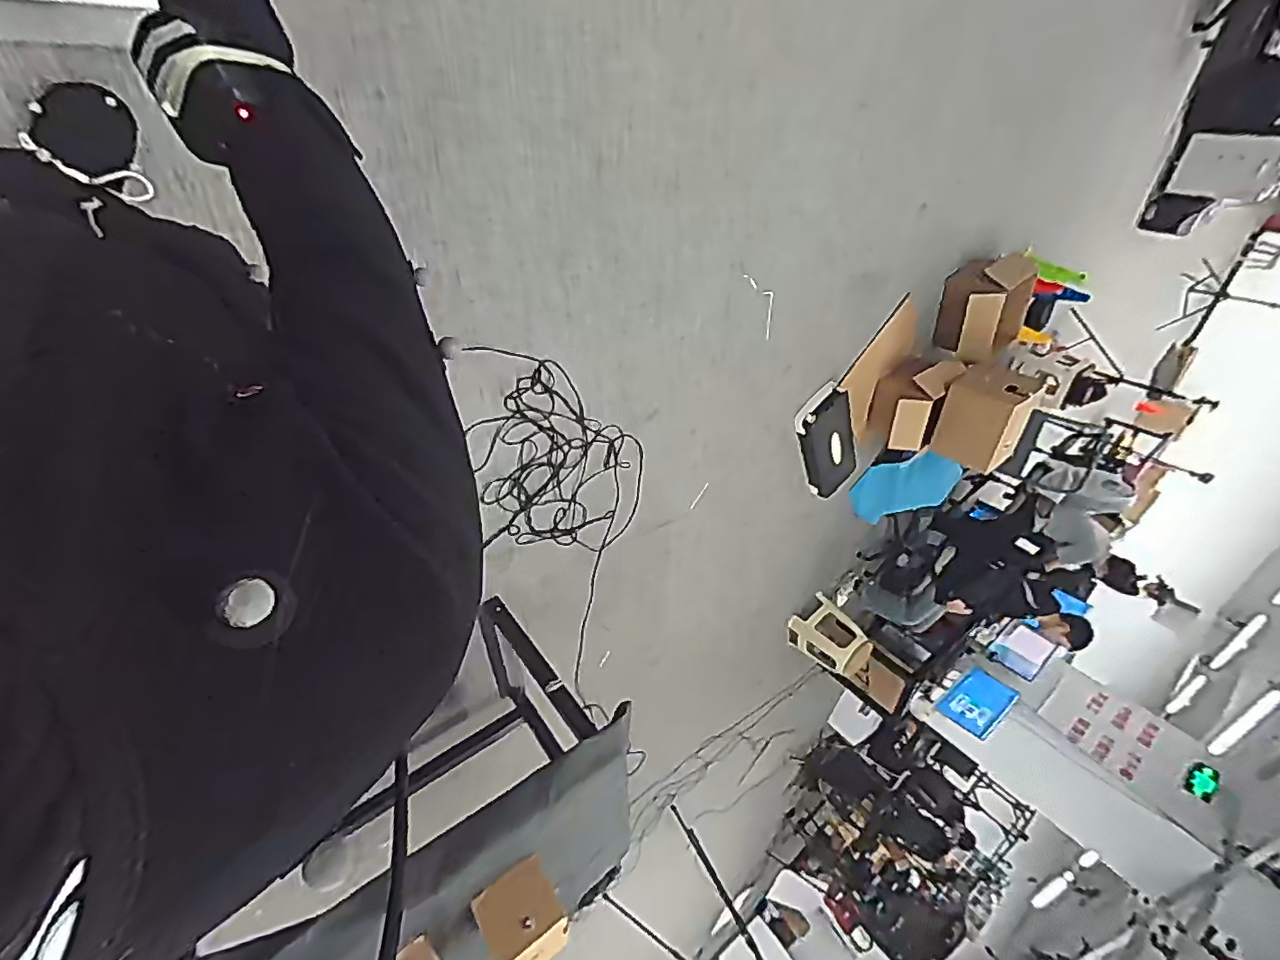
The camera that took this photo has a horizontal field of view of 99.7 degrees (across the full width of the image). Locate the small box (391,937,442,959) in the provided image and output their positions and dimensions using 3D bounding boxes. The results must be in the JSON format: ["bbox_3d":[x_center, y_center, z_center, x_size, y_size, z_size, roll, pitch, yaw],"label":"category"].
[{"bbox_3d":[-0.500,1.156,1.176,0.168,0.176,0.179,-23,131,-31],"label":"small box"}]

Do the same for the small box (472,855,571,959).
[{"bbox_3d":[-0.287,1.070,1.317,0.179,0.176,0.168,-21,129,-30],"label":"small box"}]
